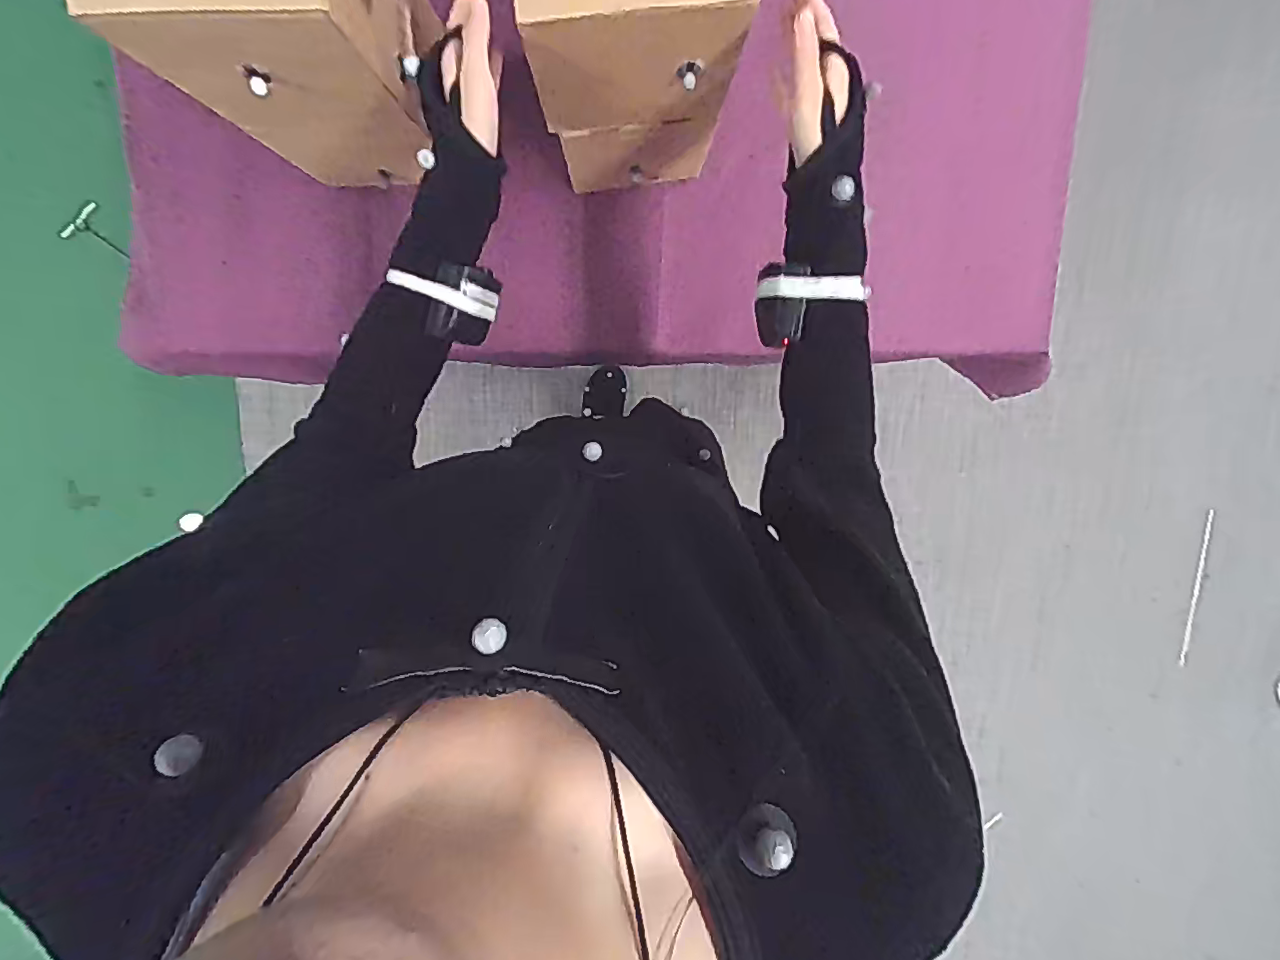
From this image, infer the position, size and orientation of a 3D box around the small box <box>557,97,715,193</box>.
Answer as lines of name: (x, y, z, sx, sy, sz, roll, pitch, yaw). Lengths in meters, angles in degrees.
small box: (-0.016, -0.454, 0.612, 0.168, 0.176, 0.179, -7, 101, 0)

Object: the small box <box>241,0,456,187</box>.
small box: (-0.315, -0.443, 0.604, 0.179, 0.176, 0.168, -2, 100, -2)

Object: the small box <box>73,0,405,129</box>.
small box: (-0.310, -0.413, 0.442, 0.179, 0.176, 0.168, -2, 101, 0)

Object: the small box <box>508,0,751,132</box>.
small box: (-0.015, -0.420, 0.452, 0.179, 0.176, 0.168, -5, 100, 0)
